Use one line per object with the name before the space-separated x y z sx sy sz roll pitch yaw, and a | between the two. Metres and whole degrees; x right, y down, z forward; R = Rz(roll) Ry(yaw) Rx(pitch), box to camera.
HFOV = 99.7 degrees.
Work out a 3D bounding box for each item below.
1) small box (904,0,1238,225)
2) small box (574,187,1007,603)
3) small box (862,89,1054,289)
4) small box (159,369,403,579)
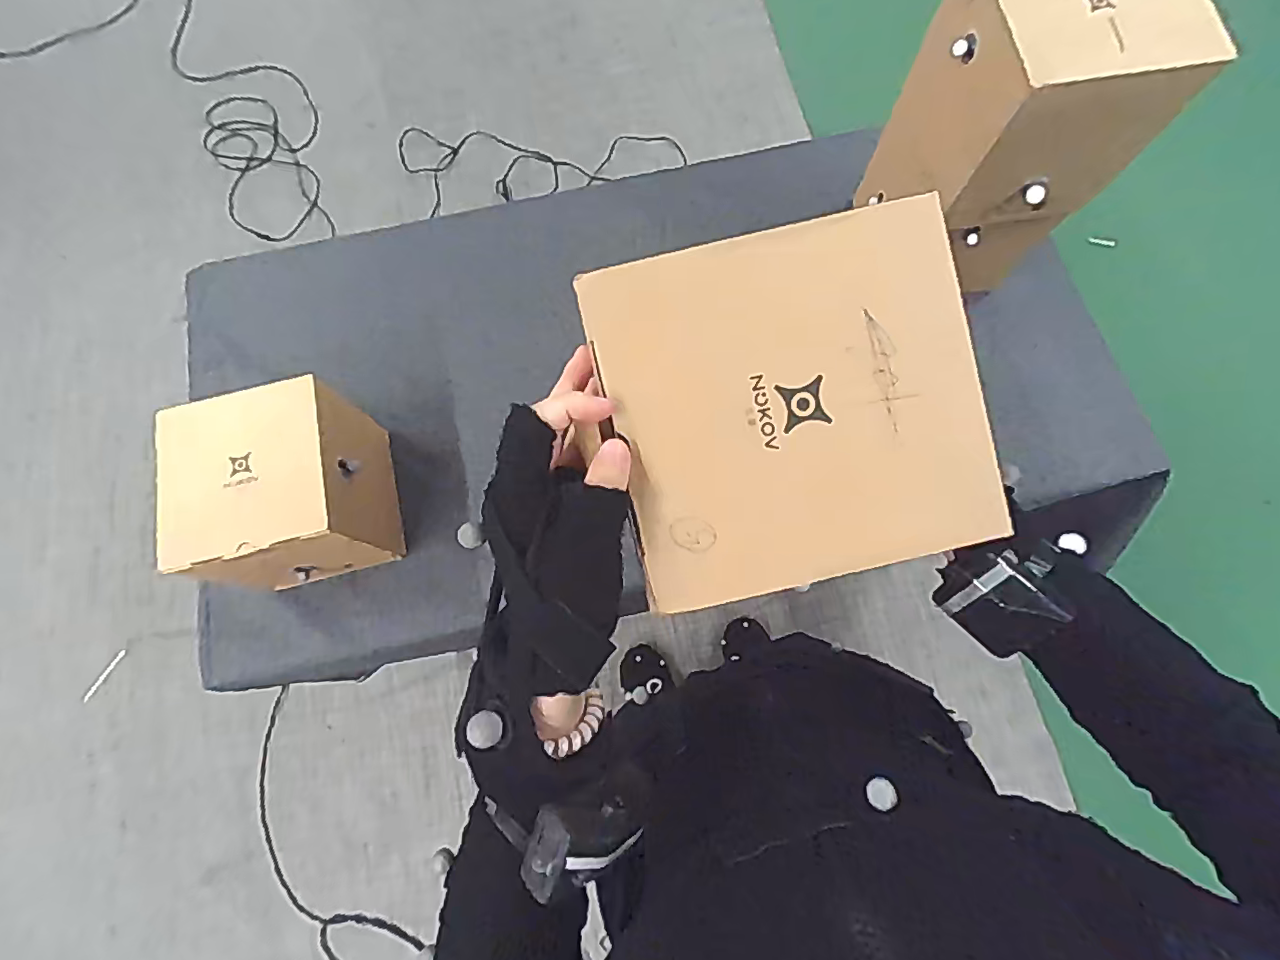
small box | 0.384 -0.384 0.524 0.168 0.176 0.179 -7 76 1
small box | 0.070 -0.040 0.329 0.179 0.176 0.168 -13 92 -1
small box | 0.396 -0.360 0.687 0.179 0.176 0.168 -1 75 2
small box | -0.393 0.004 0.616 0.168 0.176 0.179 -14 75 -3
